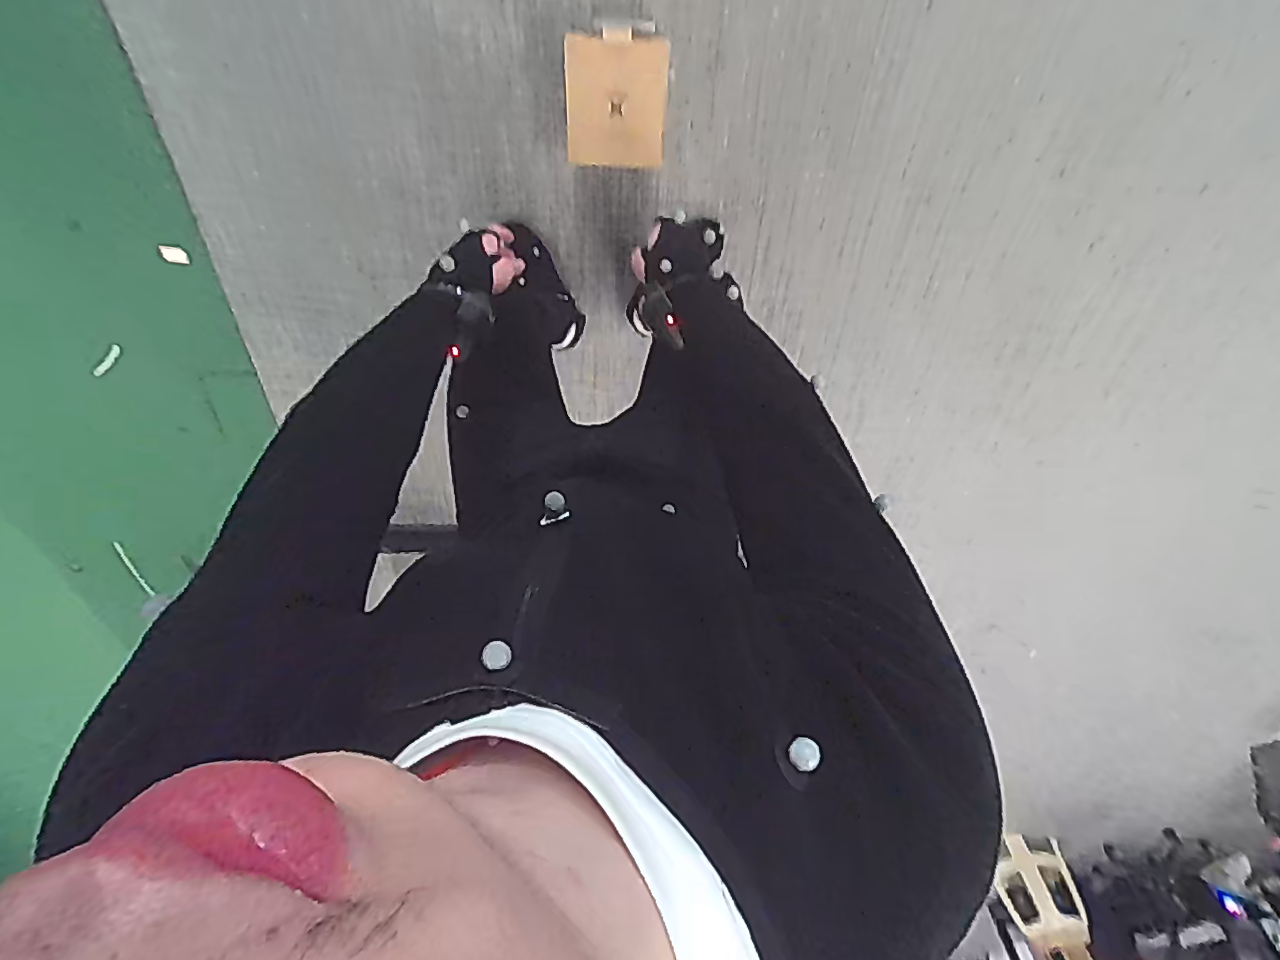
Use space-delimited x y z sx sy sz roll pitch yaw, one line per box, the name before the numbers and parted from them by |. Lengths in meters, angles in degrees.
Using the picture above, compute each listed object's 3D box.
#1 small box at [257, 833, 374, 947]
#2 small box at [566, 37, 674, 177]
small box | -0.722 0.926 1.225 0.168 0.176 0.179 8 126 -8
small box | -0.036 -0.644 0.938 0.168 0.176 0.179 5 127 -2
